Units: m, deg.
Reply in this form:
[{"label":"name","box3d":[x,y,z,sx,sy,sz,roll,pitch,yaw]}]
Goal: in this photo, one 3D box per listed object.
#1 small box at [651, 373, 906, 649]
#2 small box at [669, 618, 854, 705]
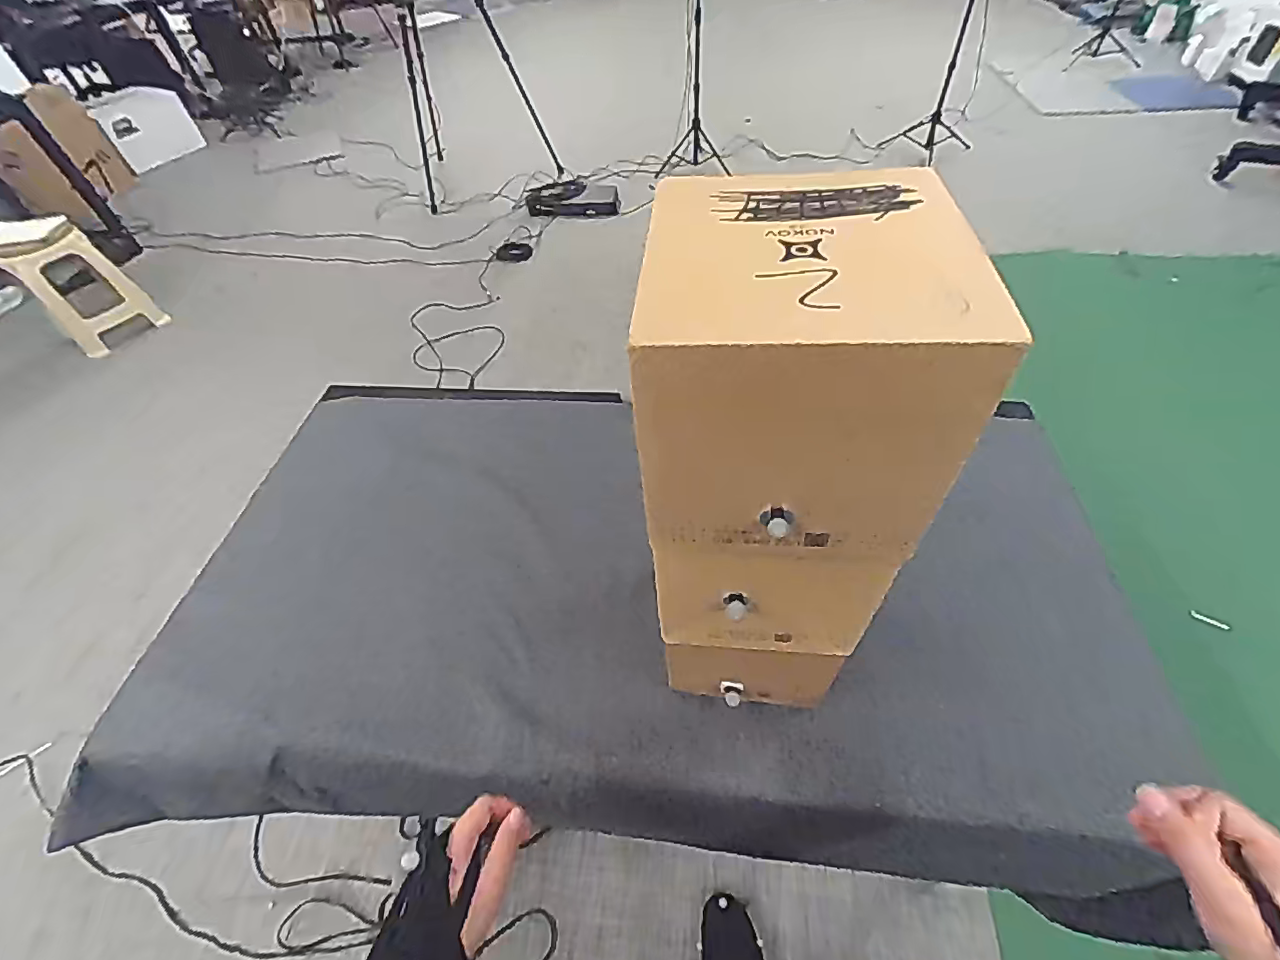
[{"label":"small box","box3d":[0.105,0.029,0.461,0.168,0.176,0.179,2,50,8]},{"label":"small box","box3d":[0.123,0.126,0.592,0.168,0.176,0.179,2,52,9]}]
